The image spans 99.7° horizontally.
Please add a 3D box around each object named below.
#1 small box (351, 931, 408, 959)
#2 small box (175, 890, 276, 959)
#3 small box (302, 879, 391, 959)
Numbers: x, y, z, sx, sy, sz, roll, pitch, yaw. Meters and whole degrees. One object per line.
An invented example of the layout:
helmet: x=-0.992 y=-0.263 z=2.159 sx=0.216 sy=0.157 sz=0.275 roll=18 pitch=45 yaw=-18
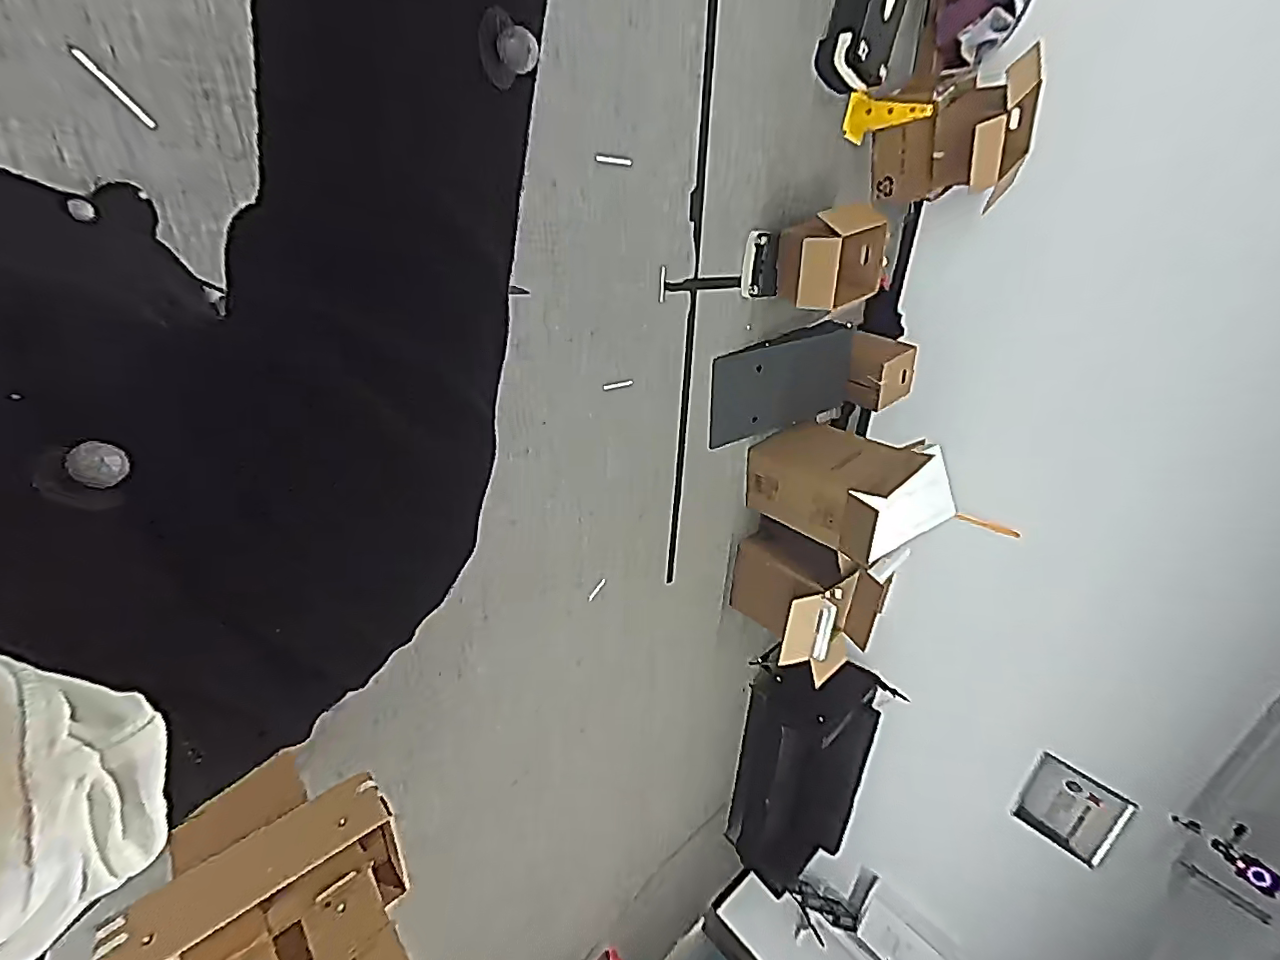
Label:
small box: x=-0.631 y=1.253 z=1.302 sx=0.168 sy=0.176 sz=0.179 roll=-23 pitch=127 yaw=-38
small box: x=-1.033 y=1.191 z=1.356 sx=0.168 sy=0.176 sz=0.179 roll=-19 pitch=123 yaw=-41
small box: x=-0.748 y=1.195 z=1.403 sx=0.168 sy=0.176 sz=0.179 roll=-23 pitch=126 yaw=-38
